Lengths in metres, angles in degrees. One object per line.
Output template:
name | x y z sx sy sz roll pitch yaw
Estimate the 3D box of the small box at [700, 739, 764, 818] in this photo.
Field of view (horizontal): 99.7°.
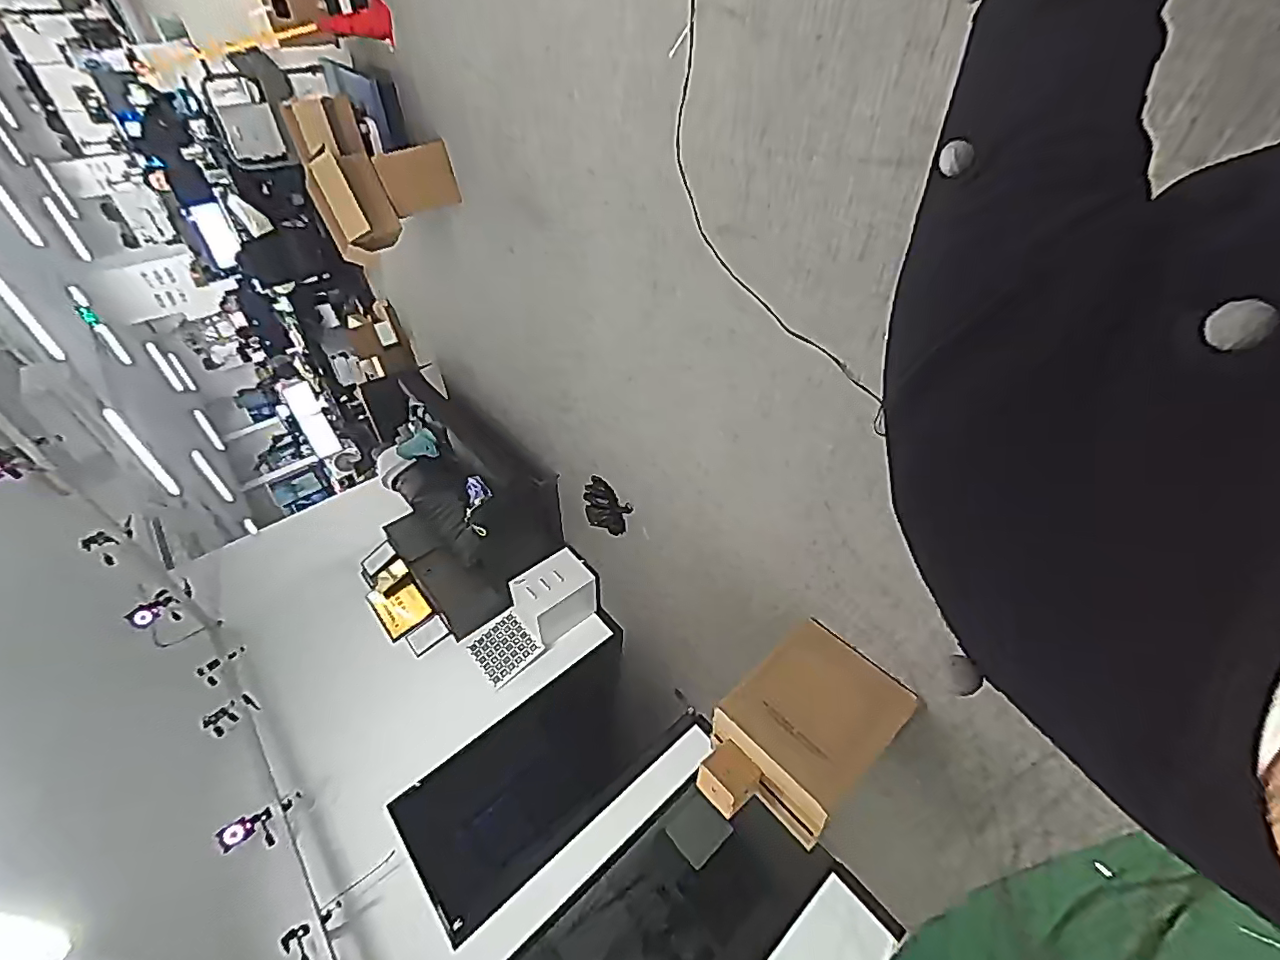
small box | 0.362 1.167 2.126 0.179 0.176 0.168 34 133 40
